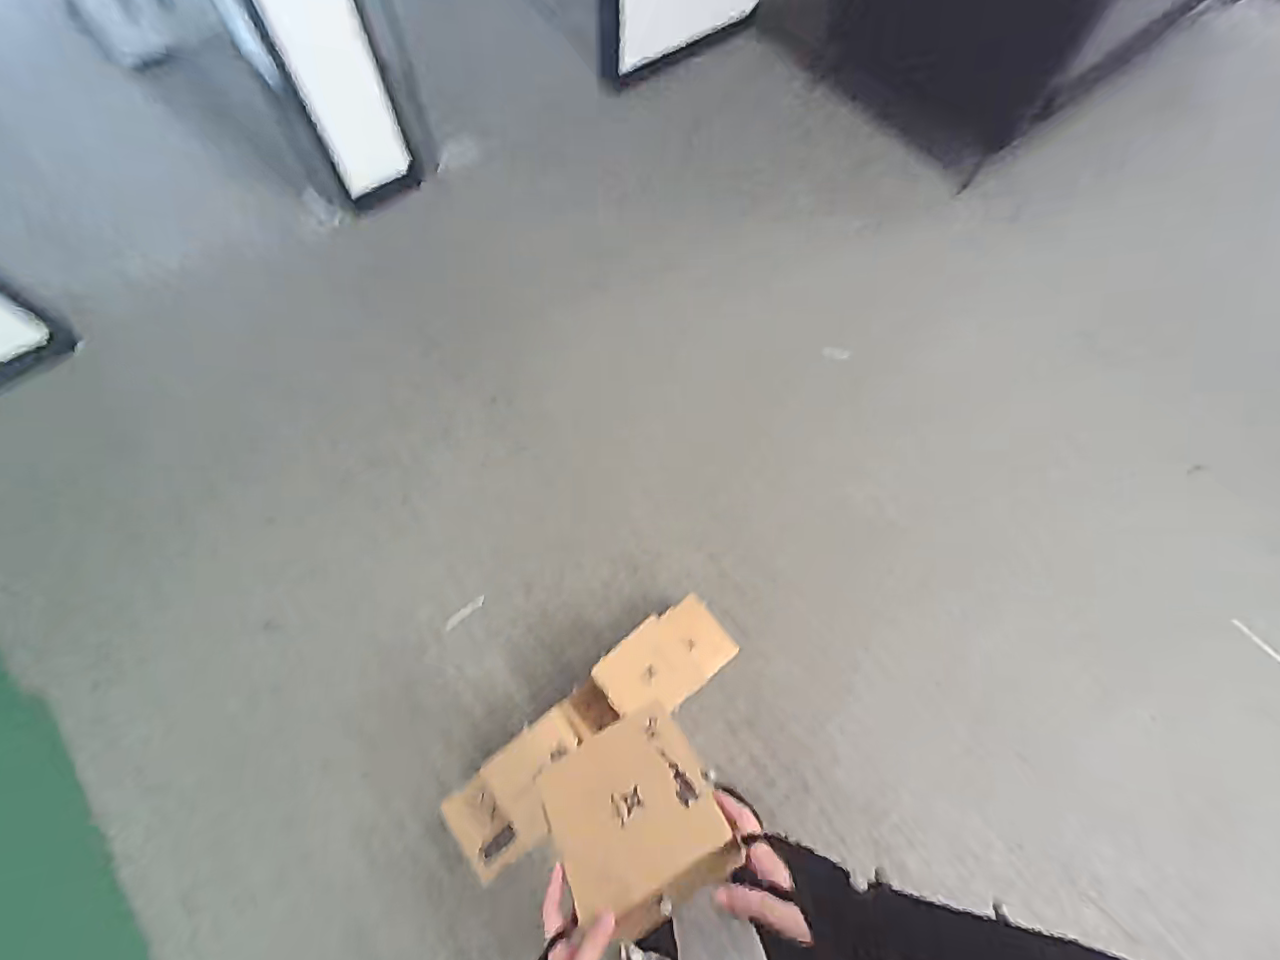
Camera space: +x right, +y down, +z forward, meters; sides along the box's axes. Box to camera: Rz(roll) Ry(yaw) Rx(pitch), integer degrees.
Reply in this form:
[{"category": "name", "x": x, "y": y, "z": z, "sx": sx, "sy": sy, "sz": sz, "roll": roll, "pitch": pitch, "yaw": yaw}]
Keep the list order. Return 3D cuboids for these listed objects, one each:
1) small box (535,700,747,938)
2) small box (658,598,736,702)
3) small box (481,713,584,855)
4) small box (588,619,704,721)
[{"category": "small box", "x": 0.006, "y": 0.403, "z": 0.641, "sx": 0.179, "sy": 0.176, "sz": 0.168, "roll": -30, "pitch": 47, "yaw": -8}, {"category": "small box", "x": 0.108, "y": 0.423, "z": 1.335, "sx": 0.168, "sy": 0.176, "sz": 0.179, "roll": -37, "pitch": 73, "yaw": -17}, {"category": "small box", "x": -0.182, "y": 0.582, "z": 1.064, "sx": 0.179, "sy": 0.176, "sz": 0.168, "roll": -35, "pitch": 72, "yaw": -16}, {"category": "small box", "x": 0.009, "y": 0.427, "z": 1.147, "sx": 0.179, "sy": 0.176, "sz": 0.168, "roll": -38, "pitch": 74, "yaw": -20}]
